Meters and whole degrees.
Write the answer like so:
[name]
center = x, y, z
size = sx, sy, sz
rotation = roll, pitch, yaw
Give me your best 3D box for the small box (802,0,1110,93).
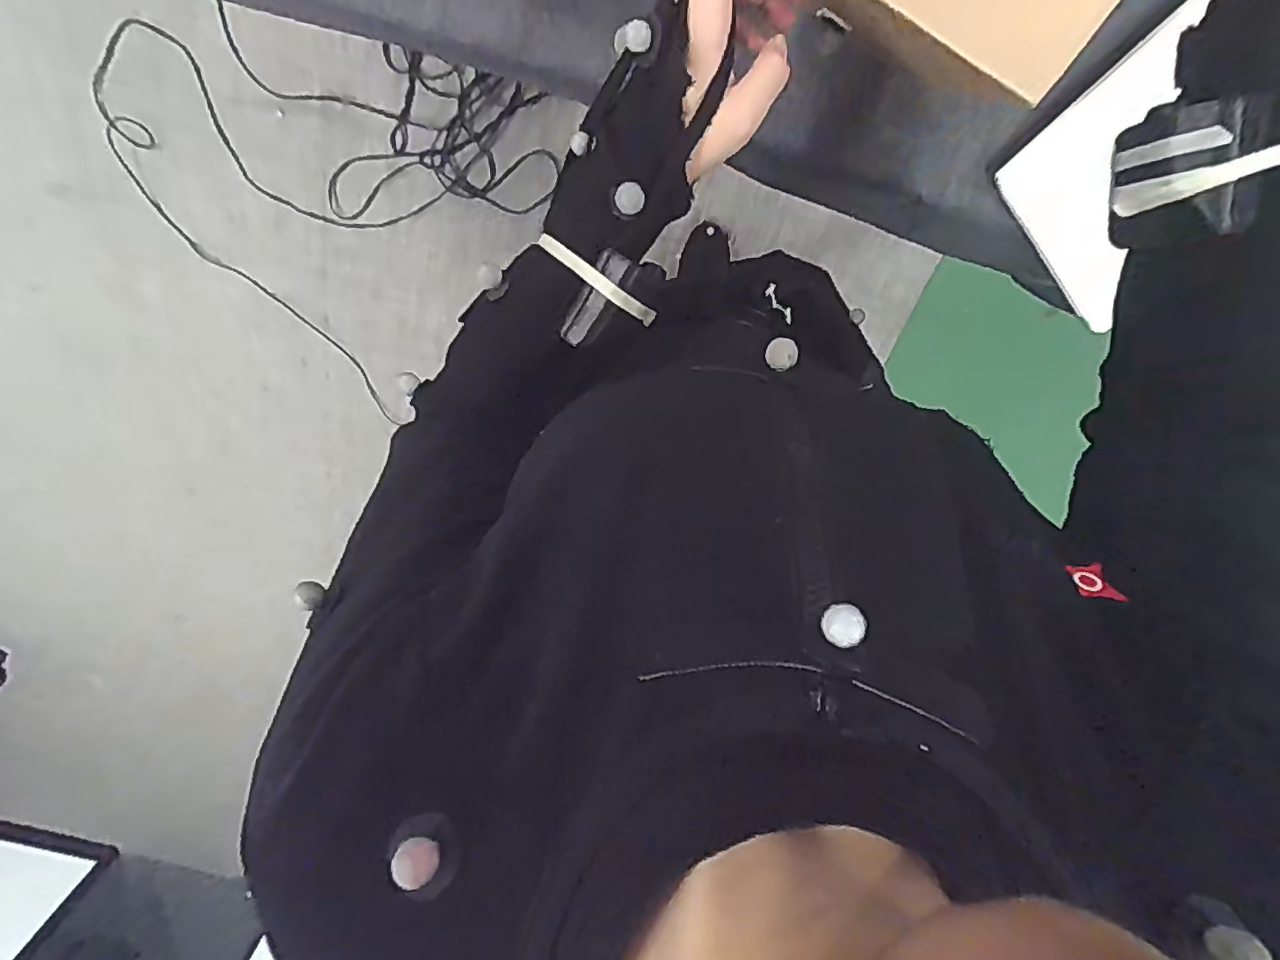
[small box]
center = 0.177, -0.342, 0.281
size = 0.168, 0.176, 0.179
rotation = 22, 127, -11
